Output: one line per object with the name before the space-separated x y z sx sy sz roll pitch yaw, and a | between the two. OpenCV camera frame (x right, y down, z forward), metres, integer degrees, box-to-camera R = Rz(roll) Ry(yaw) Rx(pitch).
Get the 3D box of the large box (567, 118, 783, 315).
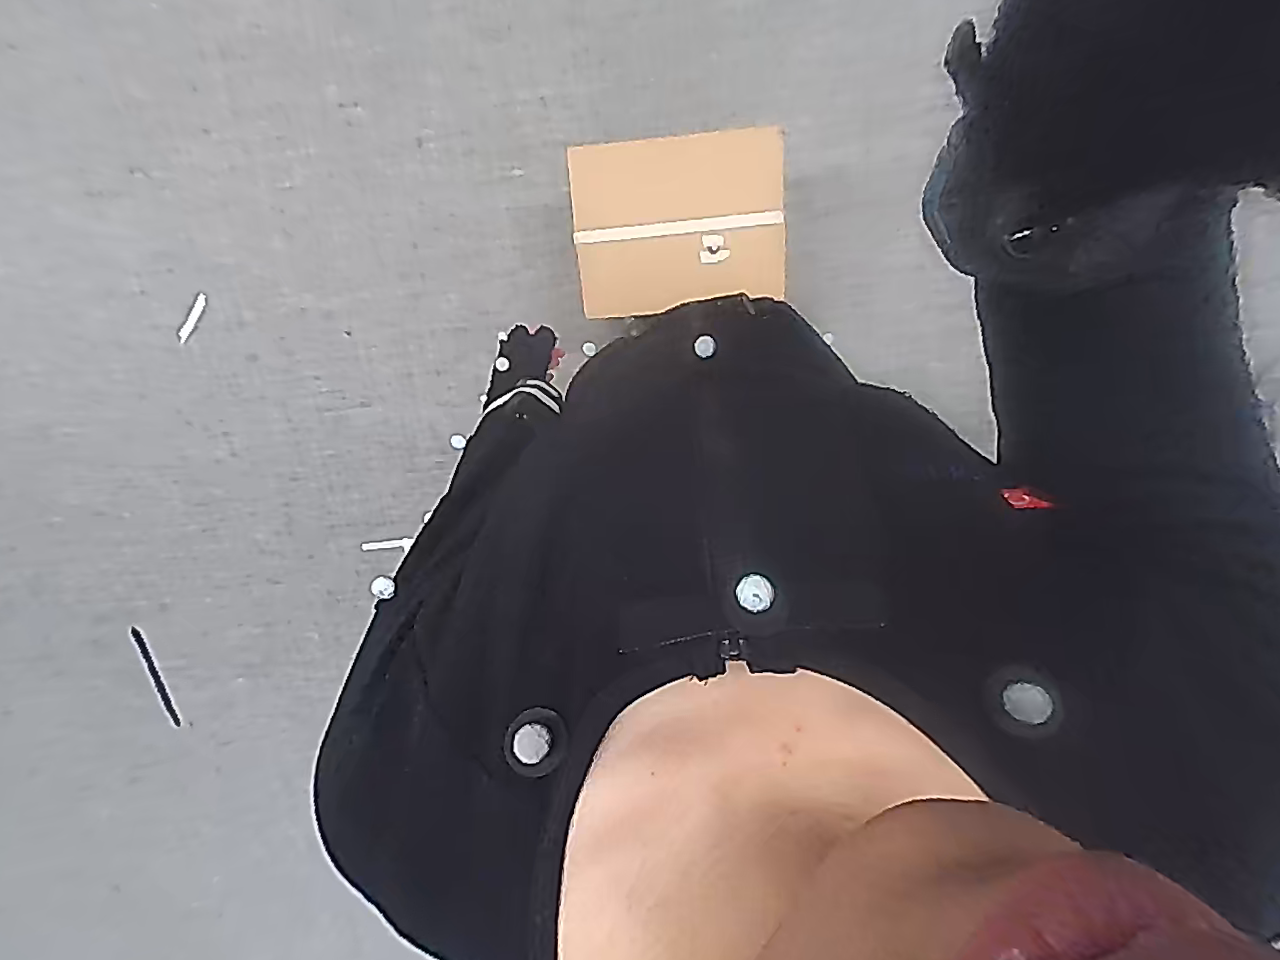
large box | 0.078 -0.545 1.188 0.408 0.320 0.320 -4 108 4
